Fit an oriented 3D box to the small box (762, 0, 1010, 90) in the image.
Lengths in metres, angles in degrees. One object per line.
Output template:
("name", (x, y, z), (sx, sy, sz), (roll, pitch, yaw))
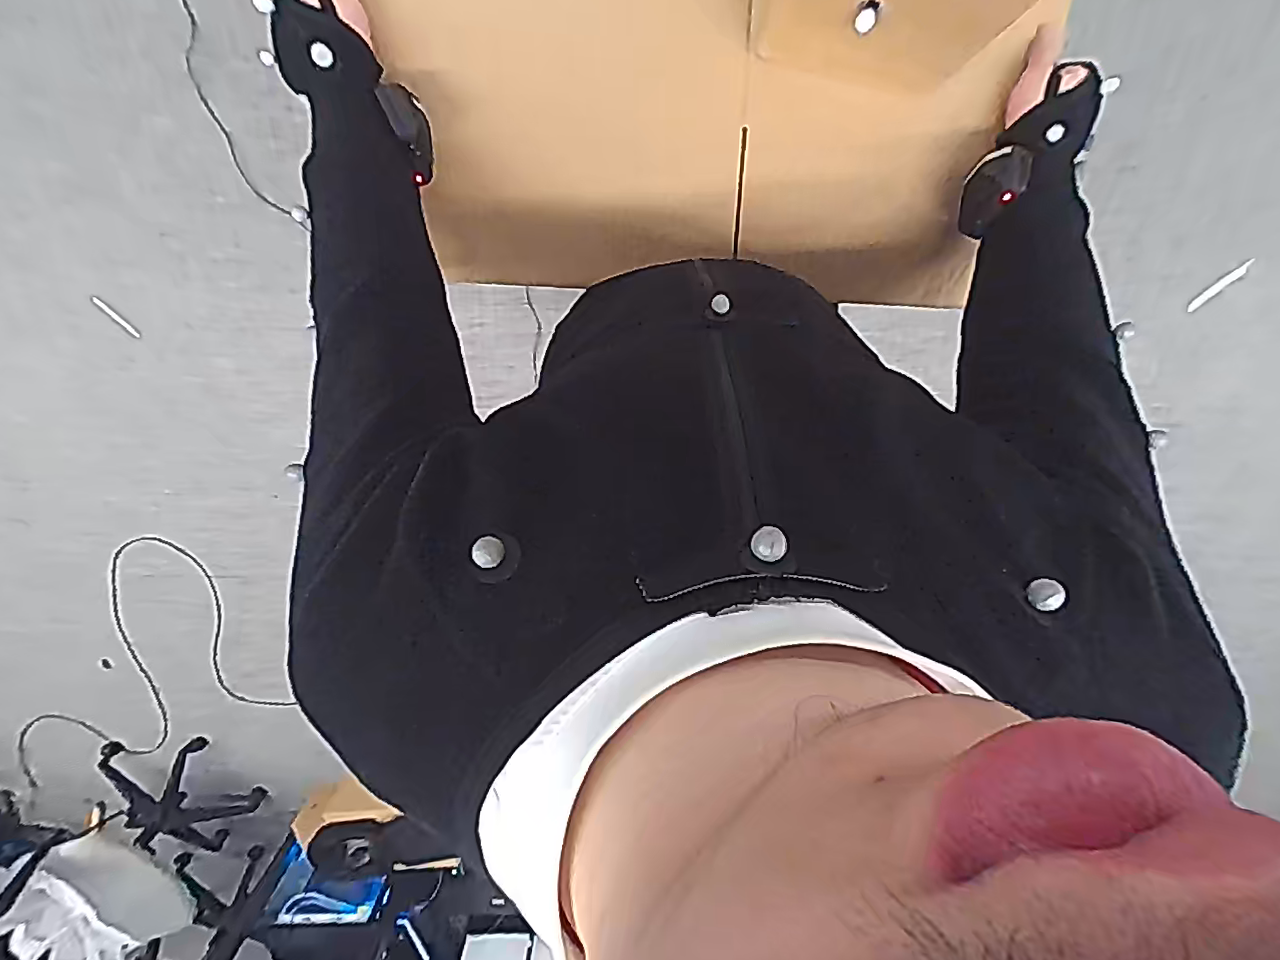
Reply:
("small box", (0.211, -0.451, 0.430), (0.179, 0.176, 0.168), (12, 103, -3))
